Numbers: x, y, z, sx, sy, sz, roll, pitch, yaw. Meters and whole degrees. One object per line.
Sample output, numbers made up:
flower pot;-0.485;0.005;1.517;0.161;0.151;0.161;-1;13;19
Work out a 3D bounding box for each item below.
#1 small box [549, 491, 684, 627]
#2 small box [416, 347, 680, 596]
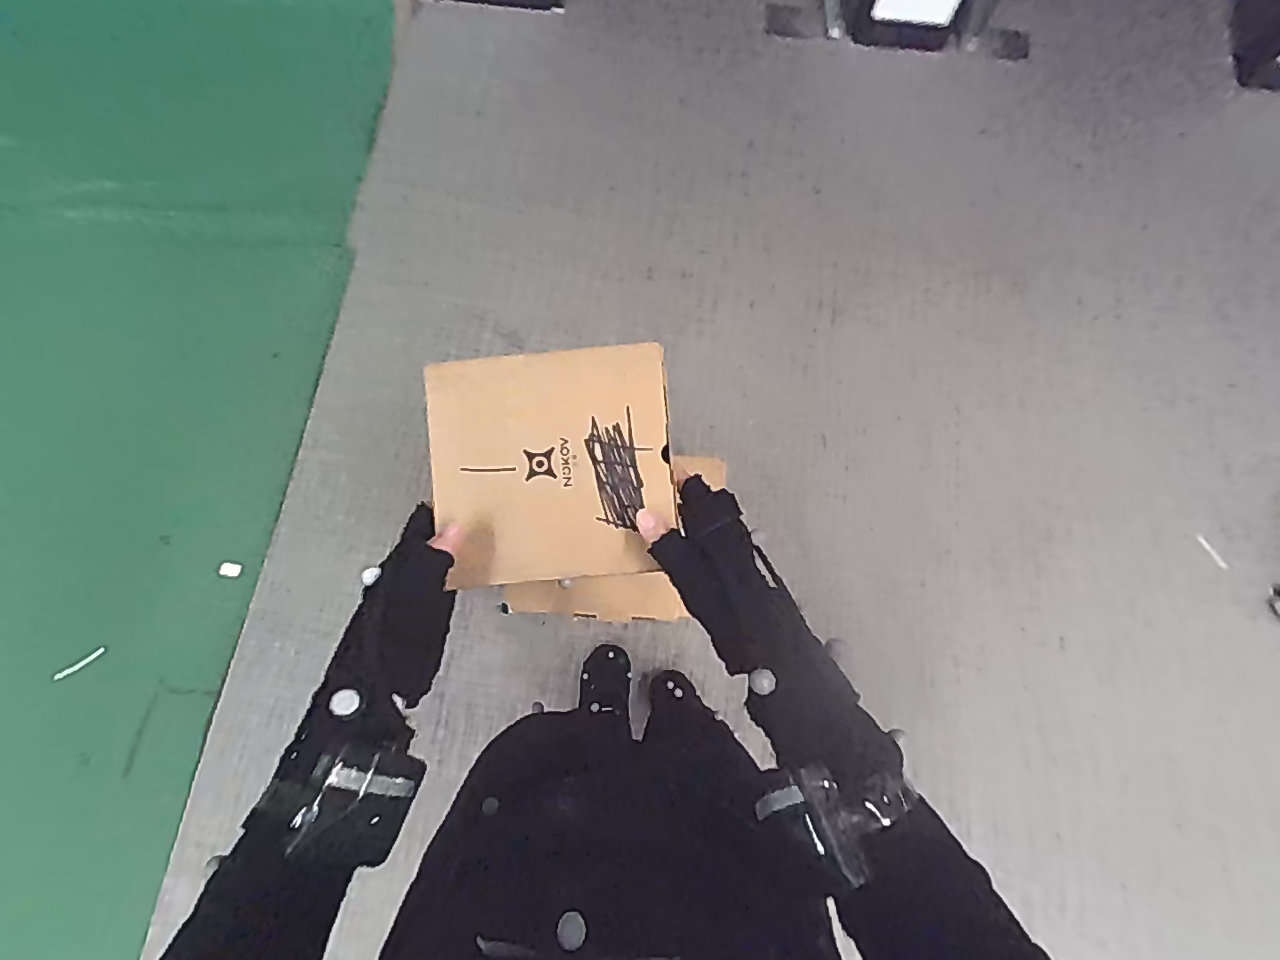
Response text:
small box;-0.027;0.110;0.773;0.168;0.176;0.179;3;79;1
small box;-0.066;-0.004;0.459;0.179;0.176;0.168;-6;87;0
